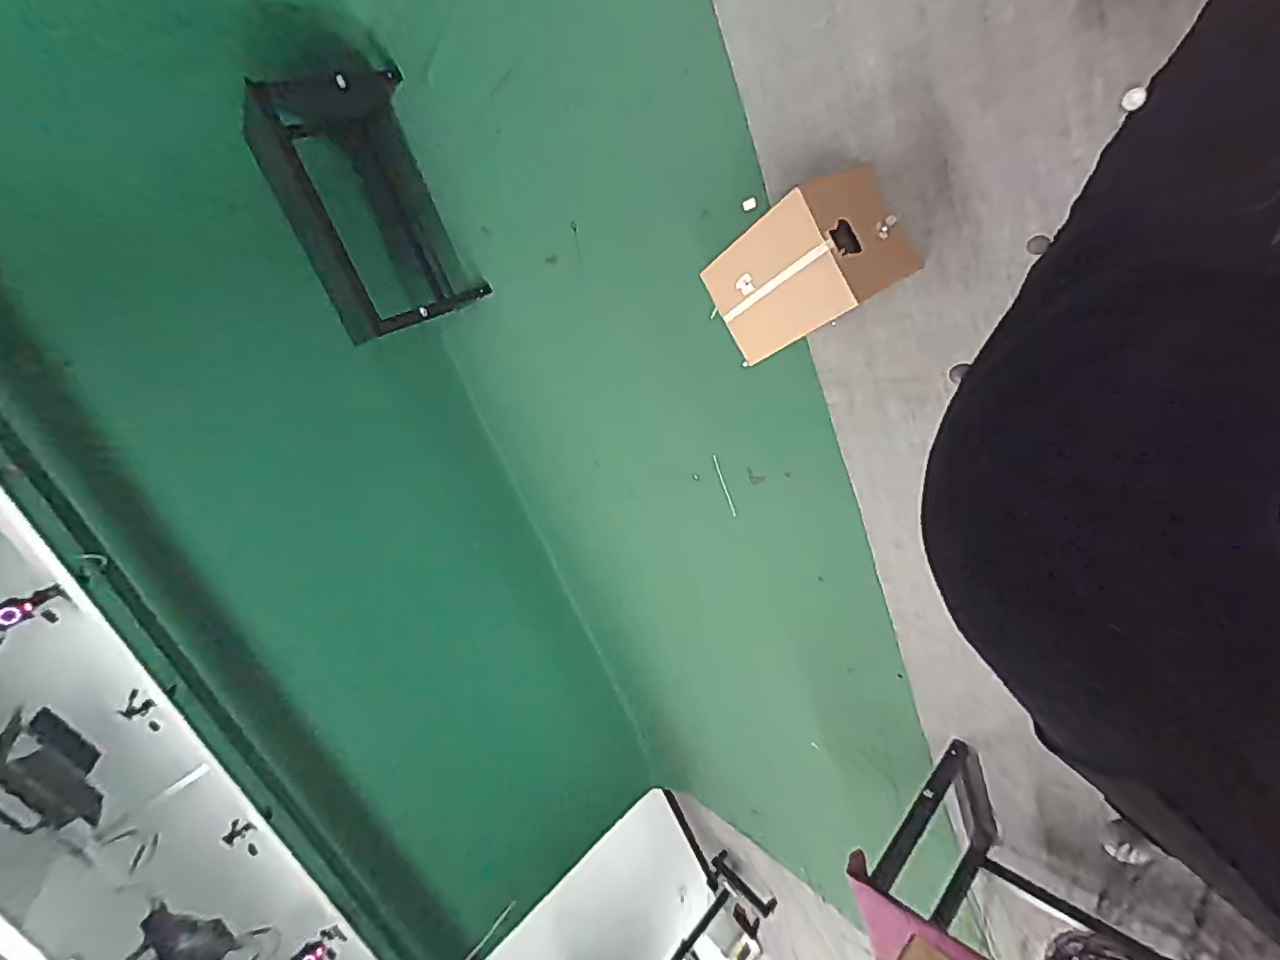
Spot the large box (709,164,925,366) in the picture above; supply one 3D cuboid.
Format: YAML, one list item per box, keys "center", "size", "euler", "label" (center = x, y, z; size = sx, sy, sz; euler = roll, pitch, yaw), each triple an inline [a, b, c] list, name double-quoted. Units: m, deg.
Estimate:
- center: [0.473, -0.577, 1.490]
  size: [0.320, 0.320, 0.408]
  euler: [61, 151, -4]
  label: "large box"
